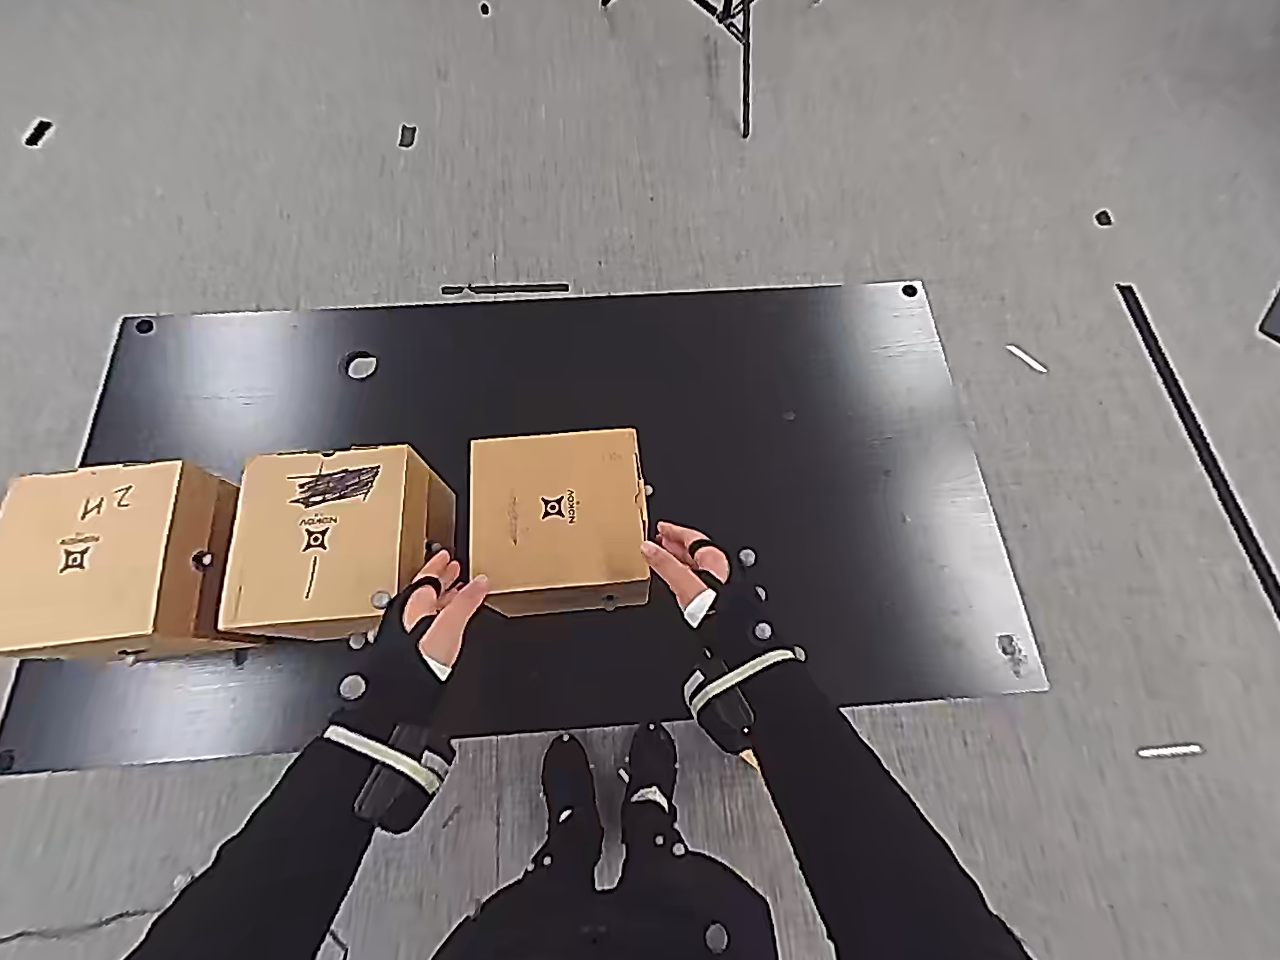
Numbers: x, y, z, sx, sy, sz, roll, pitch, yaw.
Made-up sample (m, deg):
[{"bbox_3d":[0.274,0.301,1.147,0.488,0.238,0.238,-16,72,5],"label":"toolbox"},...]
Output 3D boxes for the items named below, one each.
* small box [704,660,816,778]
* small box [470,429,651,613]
[{"bbox_3d":[0.261,0.533,1.226,0.168,0.176,0.179,37,74,12],"label":"small box"},{"bbox_3d":[-0.084,0.055,0.621,0.179,0.176,0.168,-5,69,-2],"label":"small box"}]
